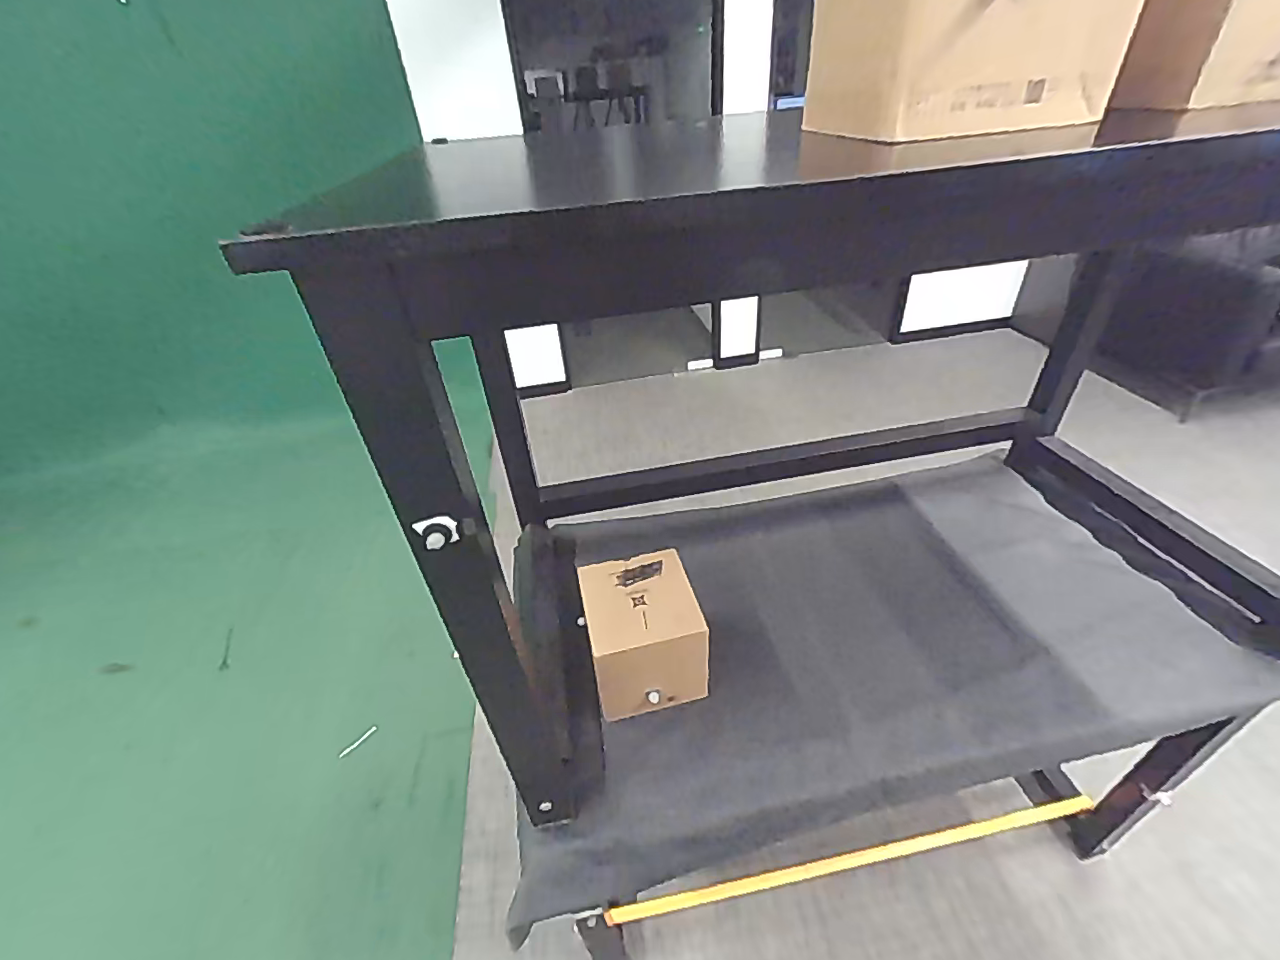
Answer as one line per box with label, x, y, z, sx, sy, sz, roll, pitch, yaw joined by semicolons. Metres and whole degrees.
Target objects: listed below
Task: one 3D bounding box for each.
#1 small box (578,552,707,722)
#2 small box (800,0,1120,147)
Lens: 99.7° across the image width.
small box;0.001;0.244;0.854;0.168;0.176;0.179;-11;37;-8
small box;0.236;-0.363;0.417;0.168;0.176;0.179;-8;35;-3
